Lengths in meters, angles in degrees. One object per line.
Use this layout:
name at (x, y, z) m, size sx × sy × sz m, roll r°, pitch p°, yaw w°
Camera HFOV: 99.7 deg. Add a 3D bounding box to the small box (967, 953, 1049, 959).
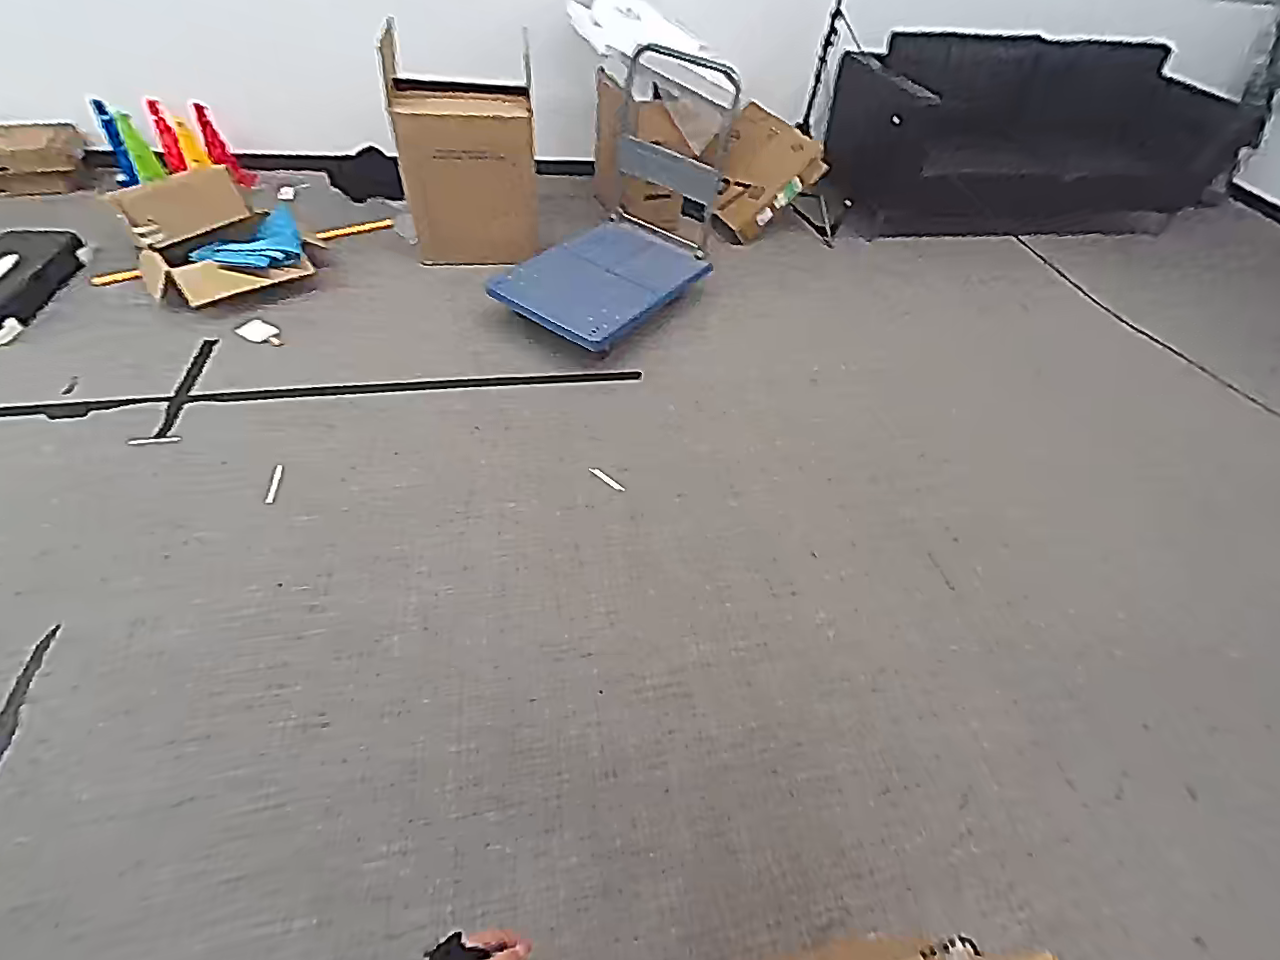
small box at (0.373, 0.626, 0.557) m, size 0.168 × 0.176 × 0.179 m, roll -8°, pitch 48°, yaw -12°
